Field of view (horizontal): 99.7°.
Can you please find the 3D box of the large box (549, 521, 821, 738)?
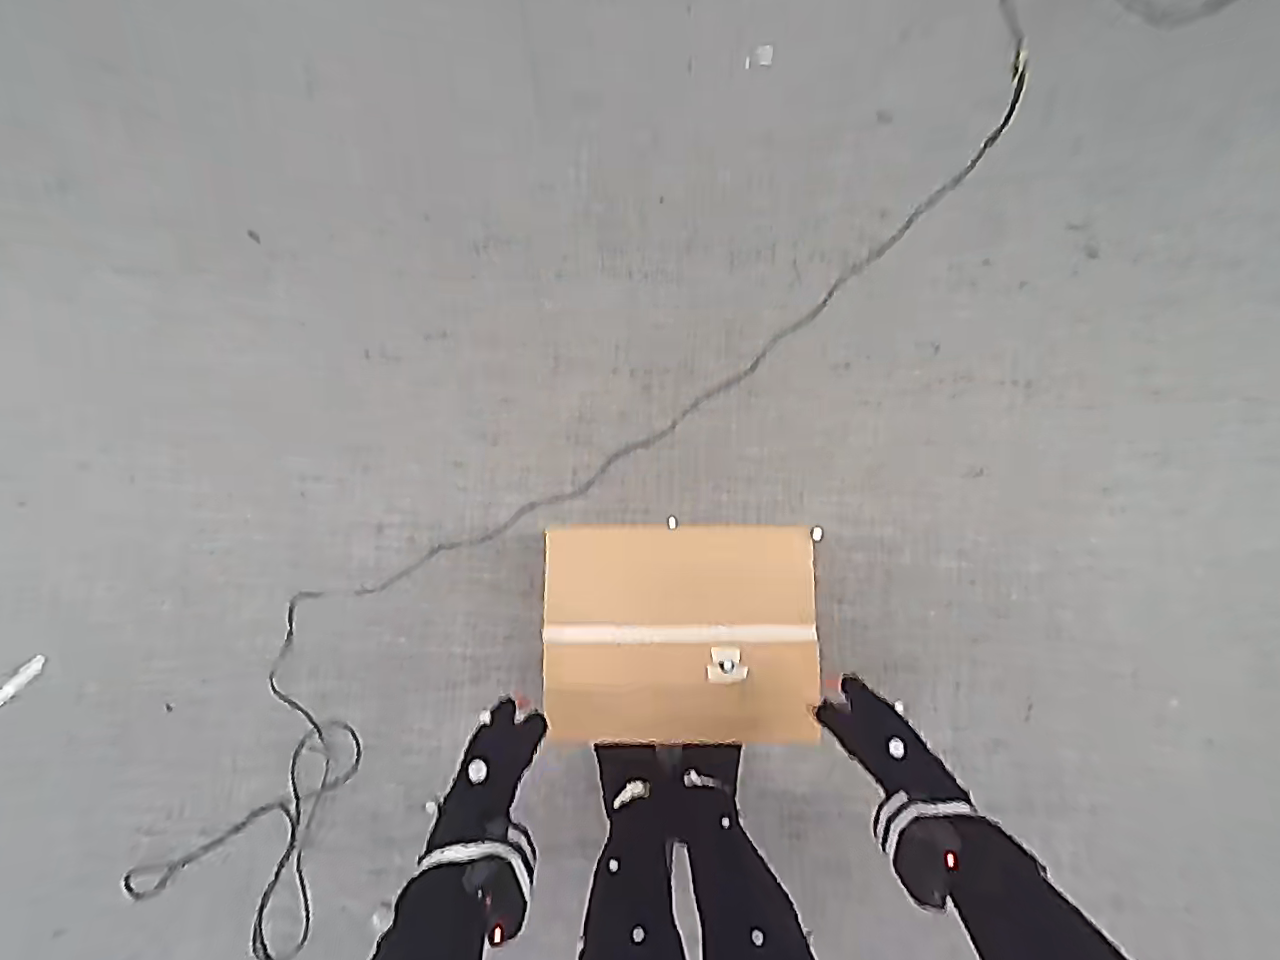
[{"bbox_3d":[0.062,0.240,0.950,0.408,0.320,0.320,0,83,-1],"label":"large box"}]
